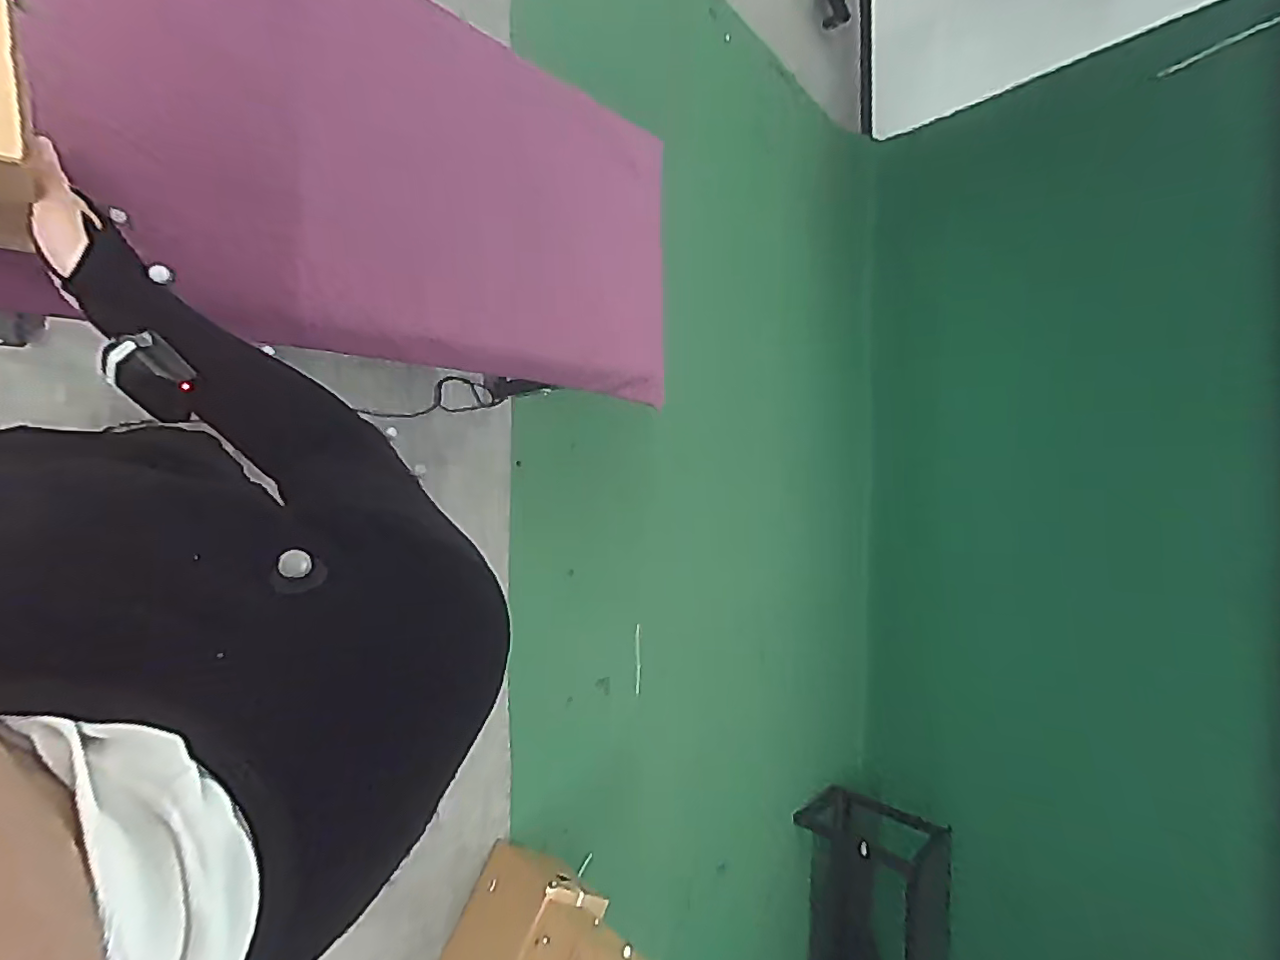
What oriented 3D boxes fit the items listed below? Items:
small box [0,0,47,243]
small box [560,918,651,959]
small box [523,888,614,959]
[{"bbox_3d":[-0.647,-0.324,0.469,0.168,0.176,0.179,-7,100,-46],"label":"small box"},{"bbox_3d":[-0.107,1.374,1.520,0.179,0.176,0.168,45,60,-37],"label":"small box"},{"bbox_3d":[-0.218,1.379,1.641,0.179,0.176,0.168,45,60,-35],"label":"small box"}]
